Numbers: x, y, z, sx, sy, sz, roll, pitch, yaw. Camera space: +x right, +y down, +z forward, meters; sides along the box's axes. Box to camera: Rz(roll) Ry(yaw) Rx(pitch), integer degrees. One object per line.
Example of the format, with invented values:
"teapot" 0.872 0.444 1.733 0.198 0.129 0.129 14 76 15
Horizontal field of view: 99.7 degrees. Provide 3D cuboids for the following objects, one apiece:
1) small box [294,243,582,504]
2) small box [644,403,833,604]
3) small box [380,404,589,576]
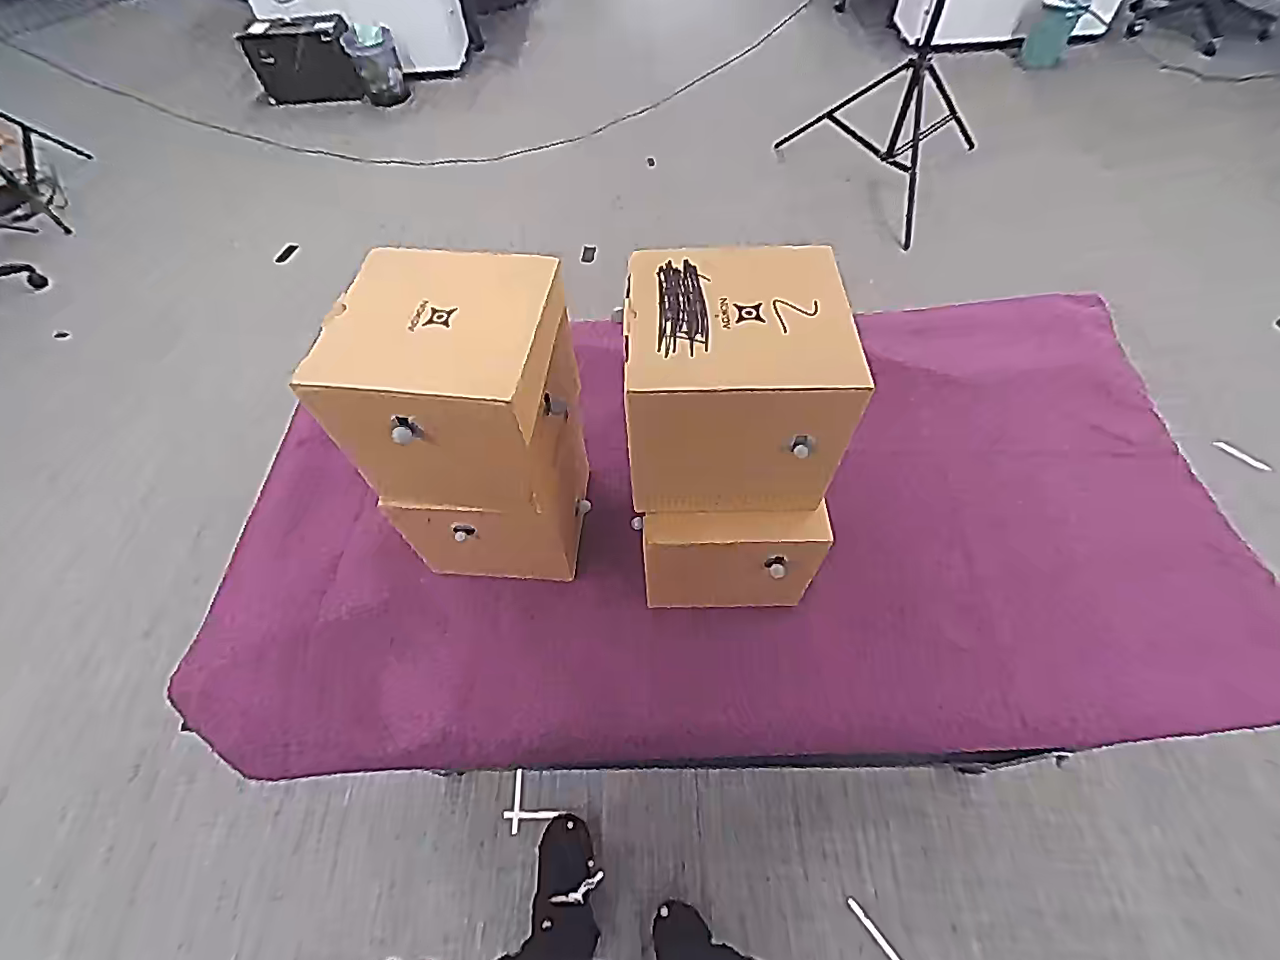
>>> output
"small box" -0.158 -0.091 0.501 0.179 0.176 0.168 5 57 6
"small box" 0.094 0.031 0.606 0.179 0.176 0.168 -1 56 2
"small box" -0.162 0.003 0.634 0.179 0.176 0.168 3 57 3
